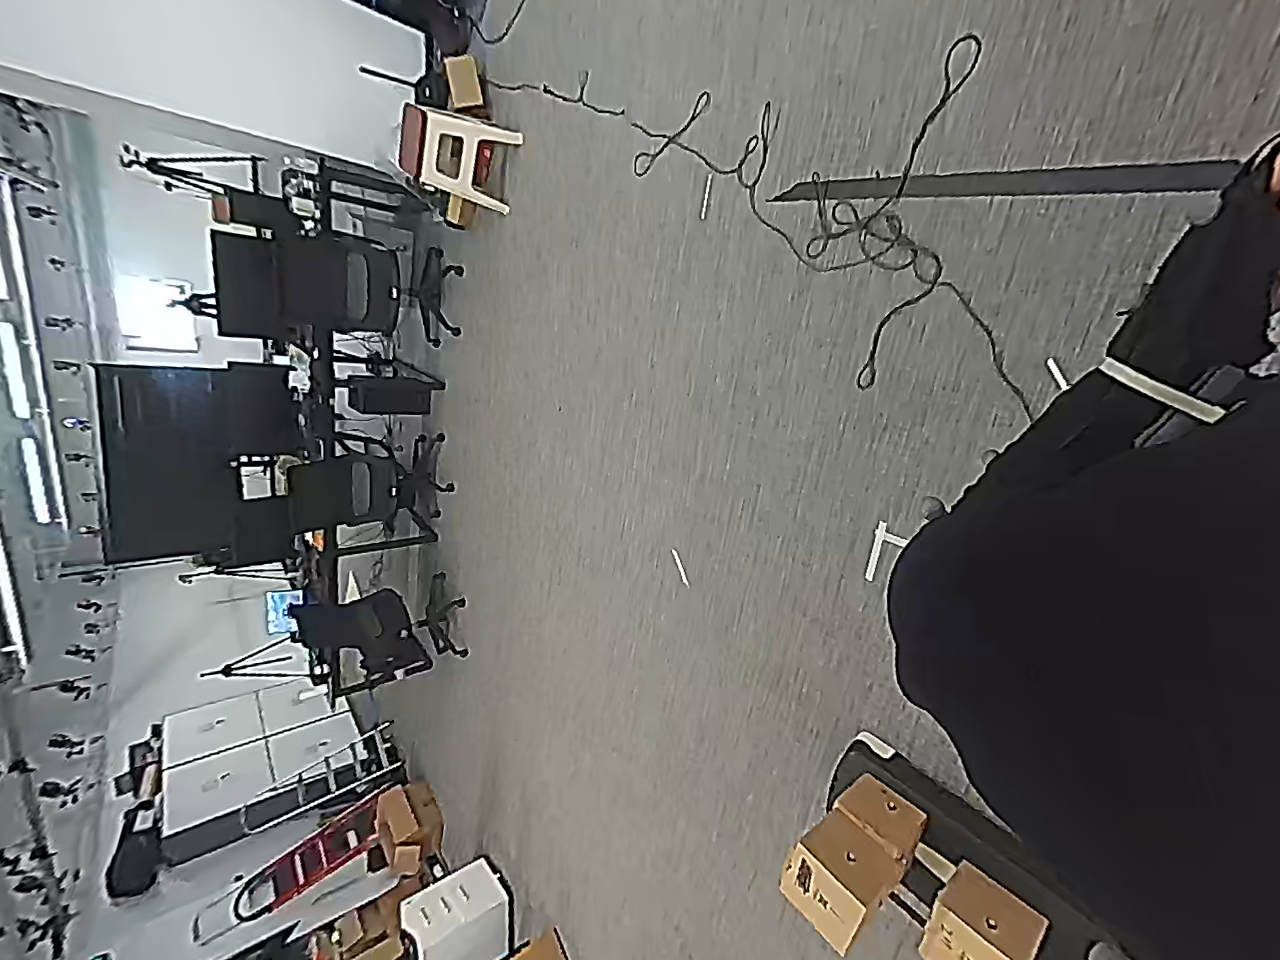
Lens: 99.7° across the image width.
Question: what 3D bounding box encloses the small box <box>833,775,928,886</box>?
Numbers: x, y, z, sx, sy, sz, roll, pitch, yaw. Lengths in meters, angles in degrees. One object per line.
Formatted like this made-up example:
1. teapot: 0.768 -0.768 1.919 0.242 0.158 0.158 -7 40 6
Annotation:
1. small box: 0.597 0.895 1.364 0.168 0.176 0.179 24 112 46

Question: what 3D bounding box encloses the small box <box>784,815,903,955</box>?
1. small box: 0.473 0.925 1.259 0.179 0.176 0.168 31 117 42
